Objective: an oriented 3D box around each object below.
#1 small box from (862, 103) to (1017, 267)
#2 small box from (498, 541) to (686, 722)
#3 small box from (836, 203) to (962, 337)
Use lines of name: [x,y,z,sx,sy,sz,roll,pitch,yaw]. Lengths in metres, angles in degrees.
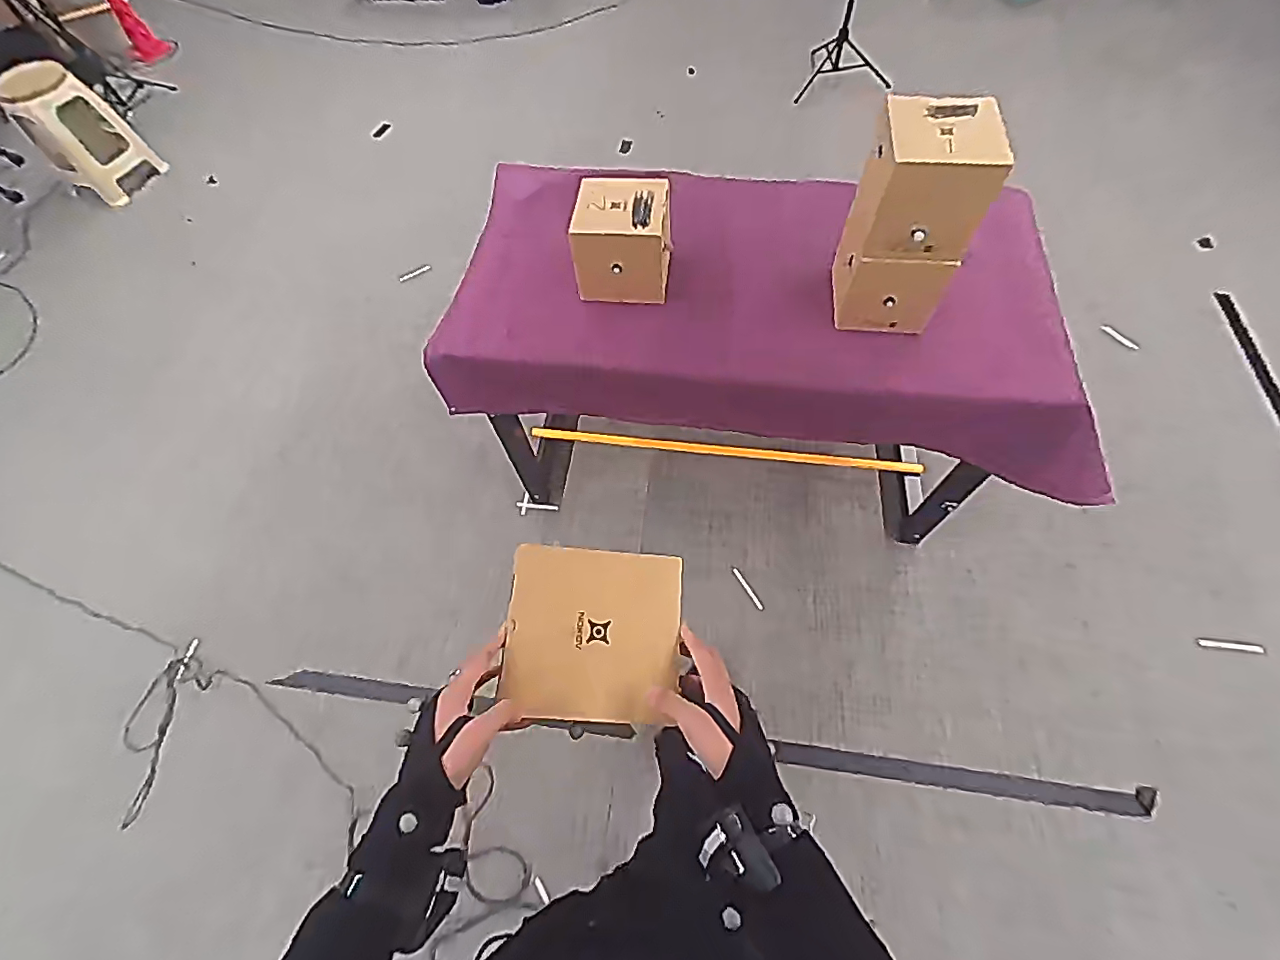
small box: [0.473,-0.479,0.885,0.168,0.176,0.179,6,63,7]
small box: [-0.050,0.175,0.615,0.179,0.176,0.168,5,68,-3]
small box: [0.479,-0.394,1.026,0.168,0.176,0.179,6,62,6]
